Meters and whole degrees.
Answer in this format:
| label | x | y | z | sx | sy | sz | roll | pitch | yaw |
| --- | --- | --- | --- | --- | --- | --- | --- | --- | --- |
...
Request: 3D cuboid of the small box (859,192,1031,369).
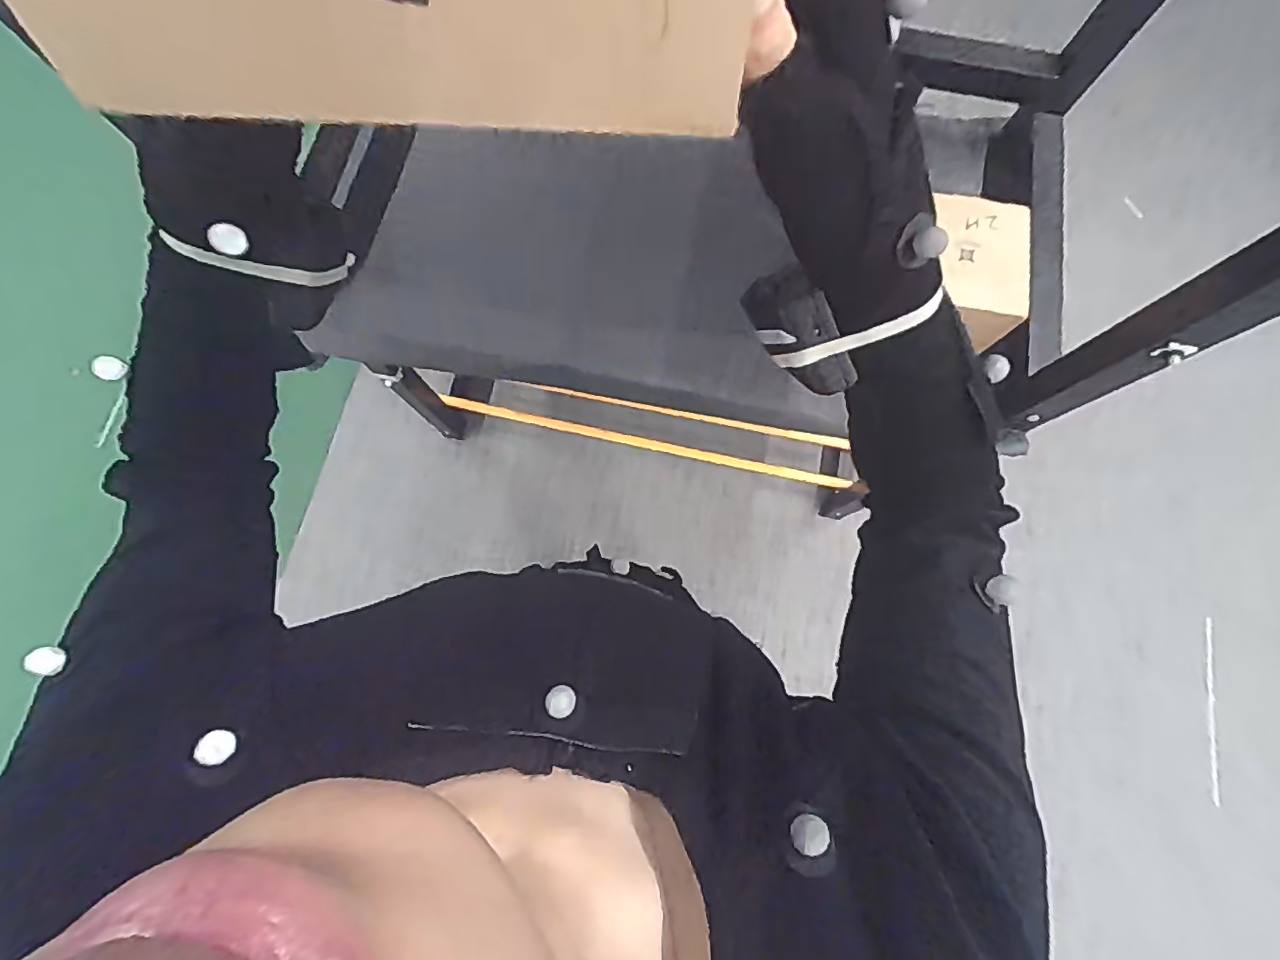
| label | x | y | z | sx | sy | sz | roll | pitch | yaw |
| --- | --- | --- | --- | --- | --- | --- | --- | --- | --- |
| small box | 0.442 | -0.286 | 0.807 | 0.168 | 0.176 | 0.179 | 10 | 76 | 2 |
